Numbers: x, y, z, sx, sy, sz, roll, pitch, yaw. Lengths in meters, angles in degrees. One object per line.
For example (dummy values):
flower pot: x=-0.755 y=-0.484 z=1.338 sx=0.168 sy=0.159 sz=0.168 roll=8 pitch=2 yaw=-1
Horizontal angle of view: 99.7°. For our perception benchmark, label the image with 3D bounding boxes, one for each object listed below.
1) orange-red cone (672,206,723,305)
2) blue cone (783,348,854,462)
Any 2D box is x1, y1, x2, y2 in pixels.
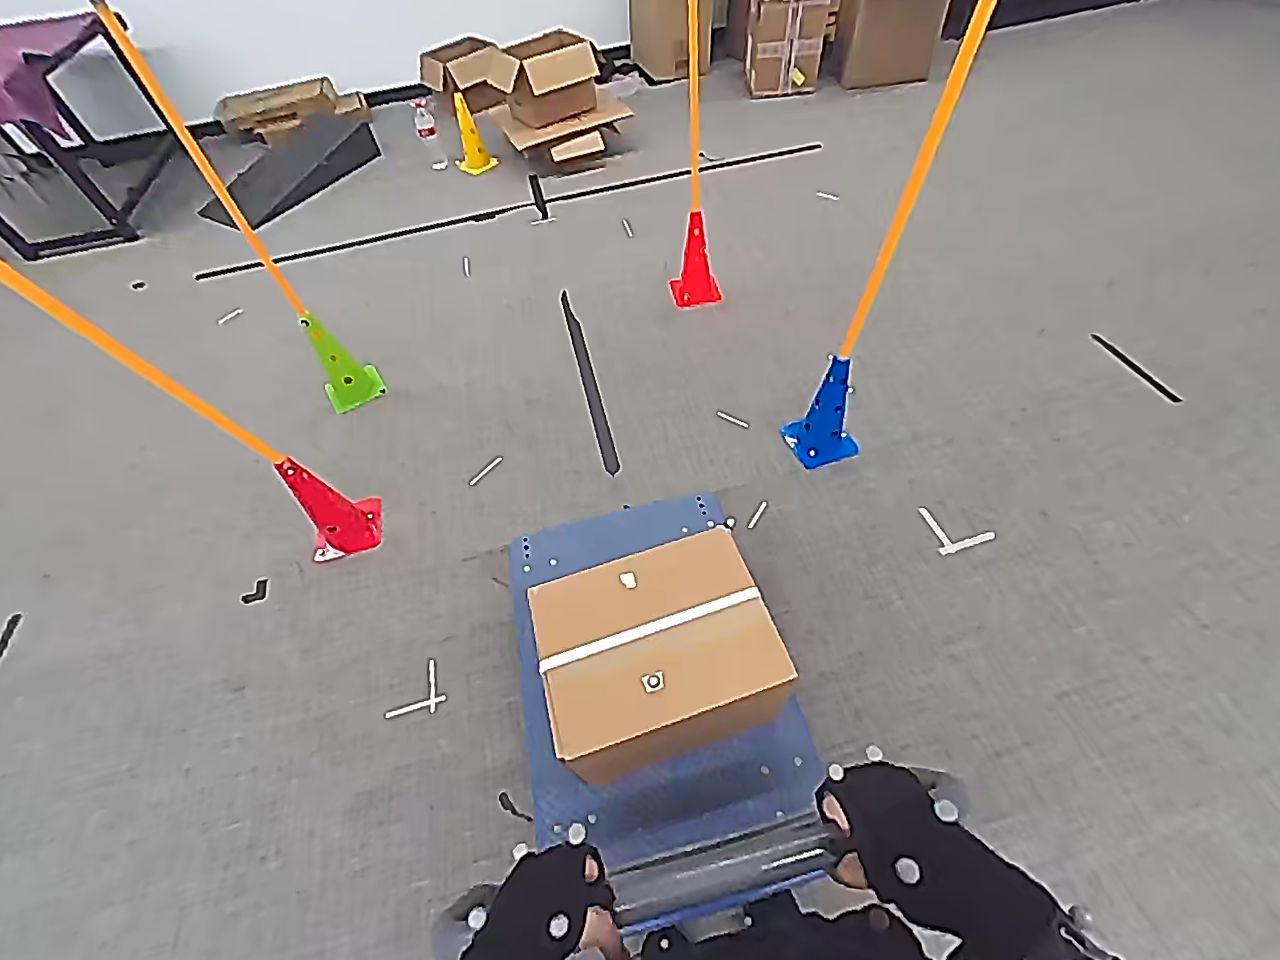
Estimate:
orange-red cone: x=0.232 y=-0.916 z=2.168 sx=0.199 sy=0.360 sz=0.198 roll=-8 pitch=54 yaw=-2
blue cone: x=0.581 y=-0.242 z=1.664 sx=0.193 sy=0.380 sz=0.192 roll=-17 pitch=53 yaw=-8
